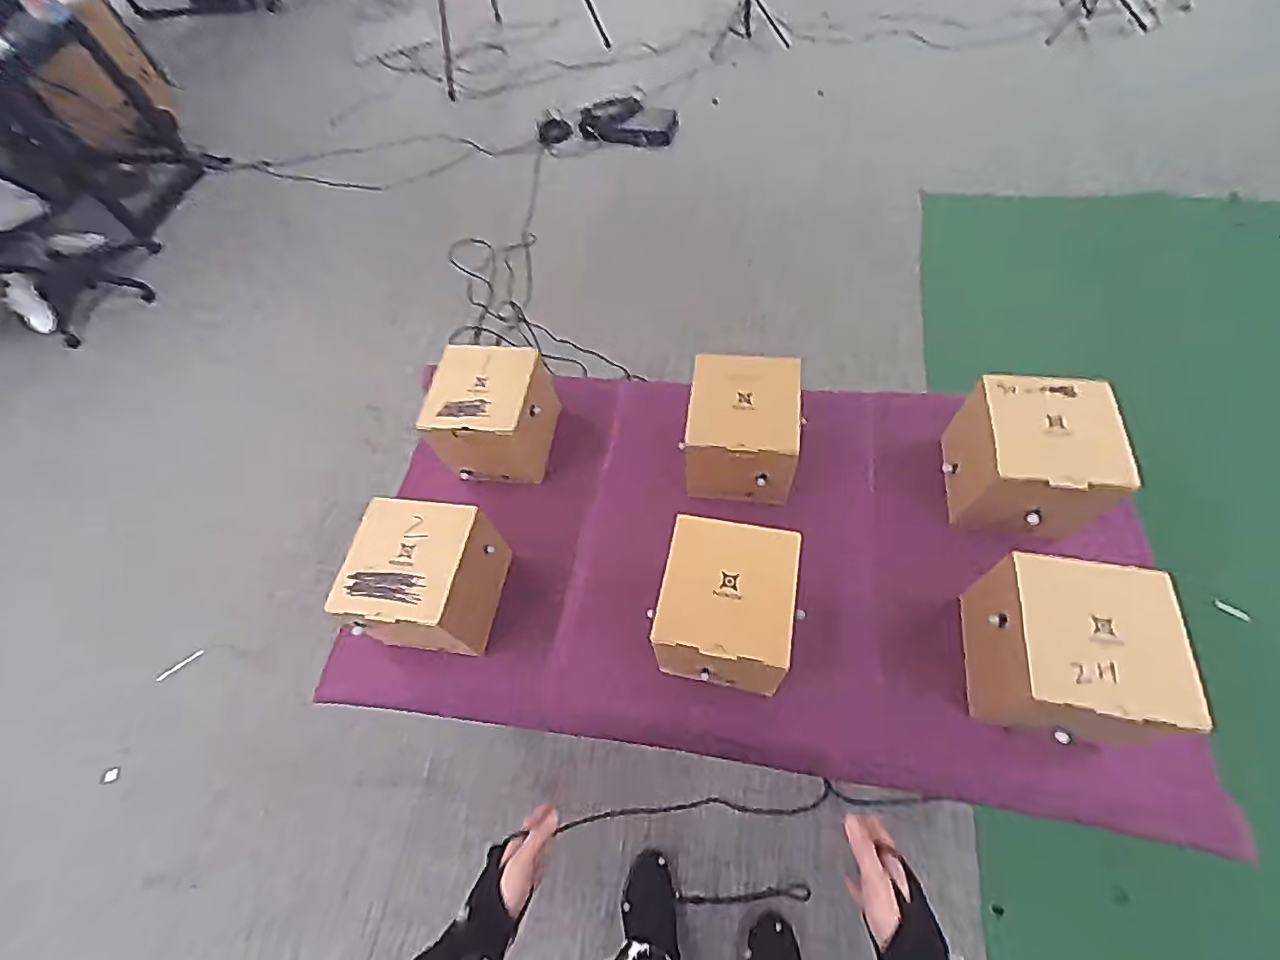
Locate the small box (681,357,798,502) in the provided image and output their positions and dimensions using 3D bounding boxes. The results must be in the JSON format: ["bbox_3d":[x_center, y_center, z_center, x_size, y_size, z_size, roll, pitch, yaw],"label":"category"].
[{"bbox_3d":[0.163,-0.078,0.884,0.168,0.176,0.179,5,61,9],"label":"small box"}]

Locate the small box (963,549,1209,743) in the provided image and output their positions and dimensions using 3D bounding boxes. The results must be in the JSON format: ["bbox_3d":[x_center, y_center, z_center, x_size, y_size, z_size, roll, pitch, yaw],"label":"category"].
[{"bbox_3d":[0.521,0.208,0.668,0.168,0.176,0.179,7,61,13],"label":"small box"}]

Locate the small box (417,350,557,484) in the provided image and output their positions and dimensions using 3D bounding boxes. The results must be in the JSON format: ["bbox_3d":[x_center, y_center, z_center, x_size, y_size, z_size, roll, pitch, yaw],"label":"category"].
[{"bbox_3d":[-0.255,-0.106,0.952,0.168,0.176,0.179,4,61,9],"label":"small box"}]

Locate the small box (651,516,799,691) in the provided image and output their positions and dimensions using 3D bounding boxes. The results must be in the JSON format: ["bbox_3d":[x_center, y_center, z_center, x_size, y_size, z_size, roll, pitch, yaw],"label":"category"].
[{"bbox_3d":[0.117,0.173,0.746,0.168,0.176,0.179,8,61,12],"label":"small box"}]

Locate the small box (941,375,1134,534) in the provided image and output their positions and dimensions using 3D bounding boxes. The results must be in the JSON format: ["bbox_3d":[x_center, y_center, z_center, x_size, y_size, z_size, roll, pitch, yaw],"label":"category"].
[{"bbox_3d":[0.569,-0.033,0.803,0.168,0.176,0.179,5,62,10],"label":"small box"}]
